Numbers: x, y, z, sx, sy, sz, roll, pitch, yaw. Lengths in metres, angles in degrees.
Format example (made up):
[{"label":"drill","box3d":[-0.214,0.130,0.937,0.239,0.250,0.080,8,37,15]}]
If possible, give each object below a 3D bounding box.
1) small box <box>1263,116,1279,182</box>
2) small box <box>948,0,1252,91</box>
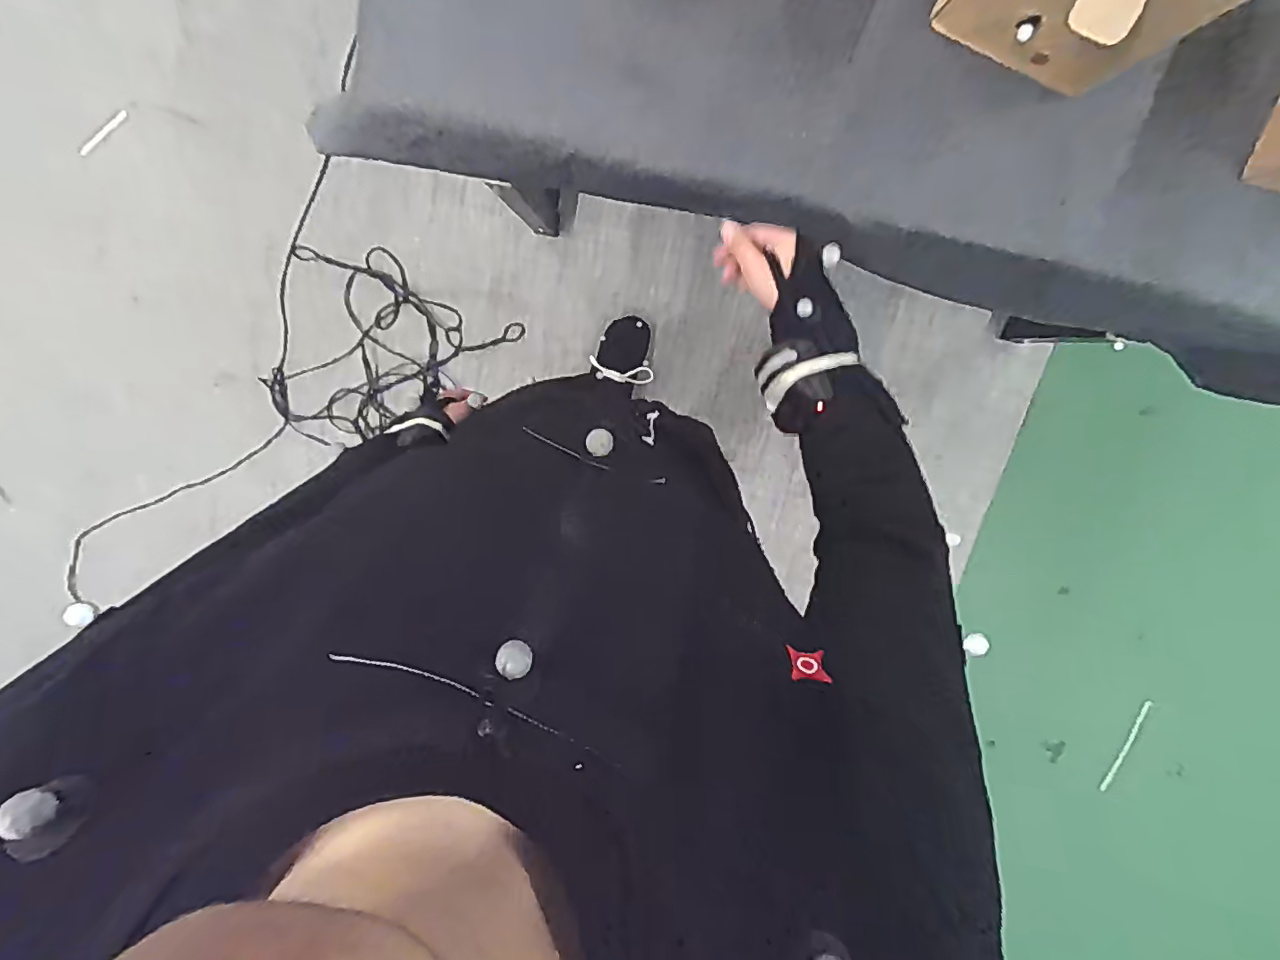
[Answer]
[{"label":"small box","box3d":[0.701,-0.337,0.444,0.168,0.176,0.179,13,102,-4]},{"label":"small box","box3d":[0.382,-0.455,0.414,0.168,0.176,0.179,21,103,-6]}]
